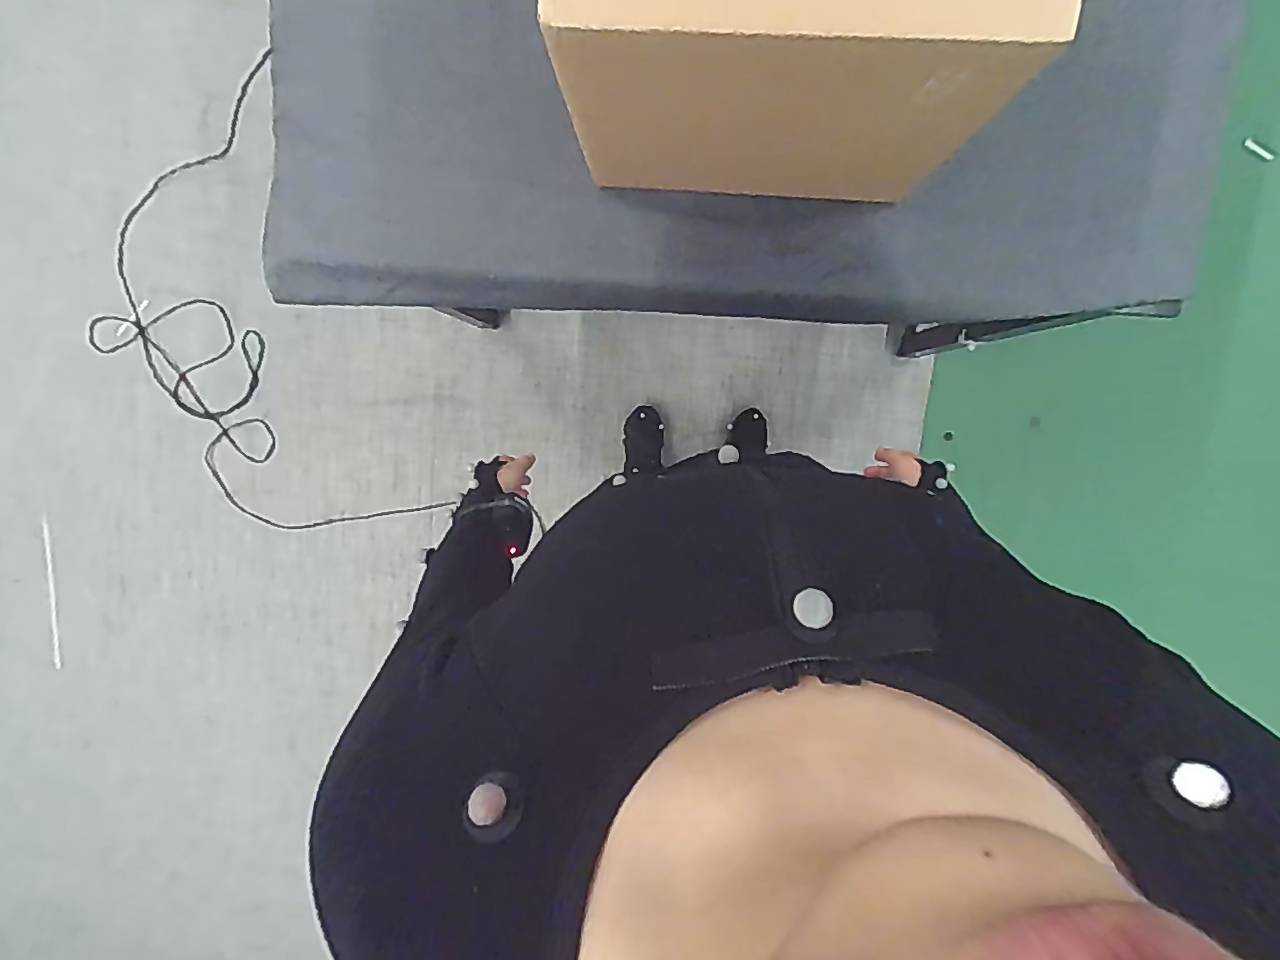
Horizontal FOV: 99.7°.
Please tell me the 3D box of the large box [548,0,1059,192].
[{"bbox_3d":[0.135,-0.518,0.554,0.408,0.320,0.320,4,98,2],"label":"large box"}]
